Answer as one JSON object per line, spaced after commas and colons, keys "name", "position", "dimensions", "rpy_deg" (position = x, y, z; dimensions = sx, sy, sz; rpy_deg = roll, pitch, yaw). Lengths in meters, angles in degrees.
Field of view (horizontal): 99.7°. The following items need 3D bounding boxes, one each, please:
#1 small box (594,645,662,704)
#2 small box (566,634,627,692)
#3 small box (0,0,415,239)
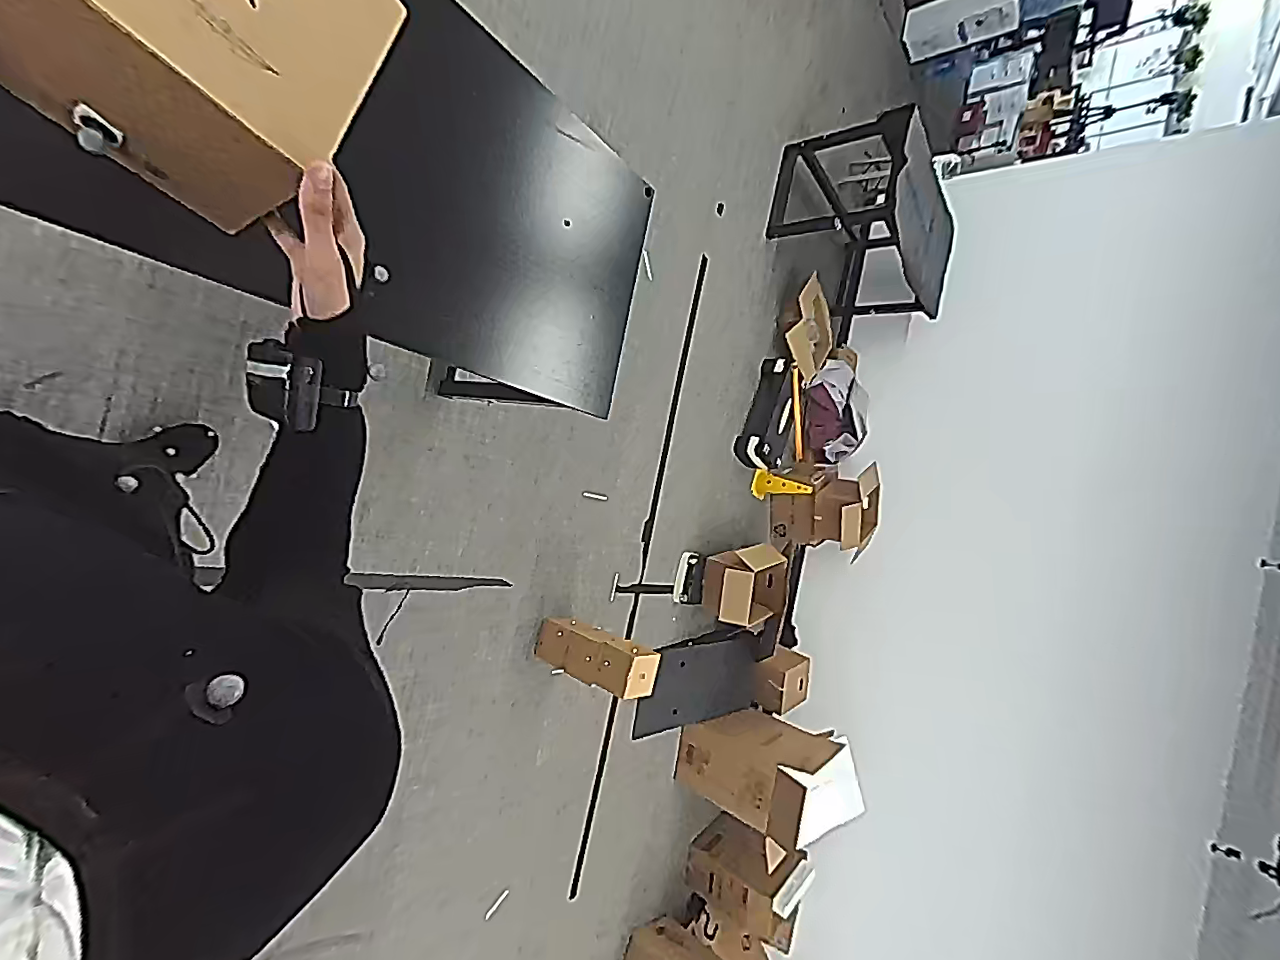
{"name": "small box", "position": [-0.047, 0.747, 2.095], "dimensions": [0.179, 0.176, 0.168], "rpy_deg": [18, 85, -50]}
{"name": "small box", "position": [-0.178, 0.733, 2.192], "dimensions": [0.168, 0.176, 0.179], "rpy_deg": [15, 88, -51]}
{"name": "small box", "position": [-0.303, -0.308, 0.383], "dimensions": [0.168, 0.176, 0.179], "rpy_deg": [35, 64, -50]}
